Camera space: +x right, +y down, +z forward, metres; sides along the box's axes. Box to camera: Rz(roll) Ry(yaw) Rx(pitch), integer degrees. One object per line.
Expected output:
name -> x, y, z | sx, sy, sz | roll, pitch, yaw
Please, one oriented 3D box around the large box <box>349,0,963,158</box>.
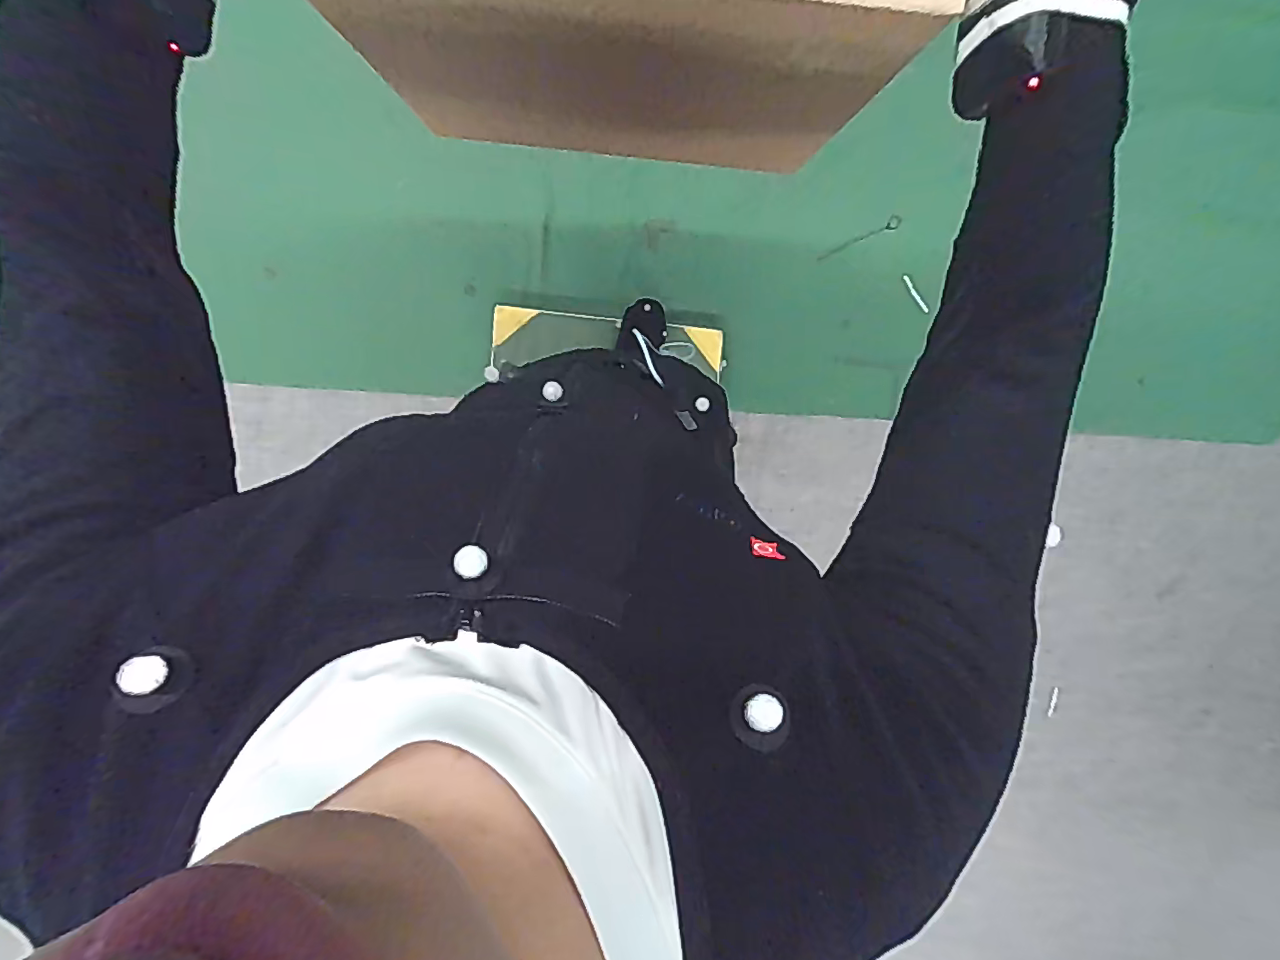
large box -> 0.002, -0.478, 0.417 | 0.408, 0.320, 0.320 | 4, 106, -4
